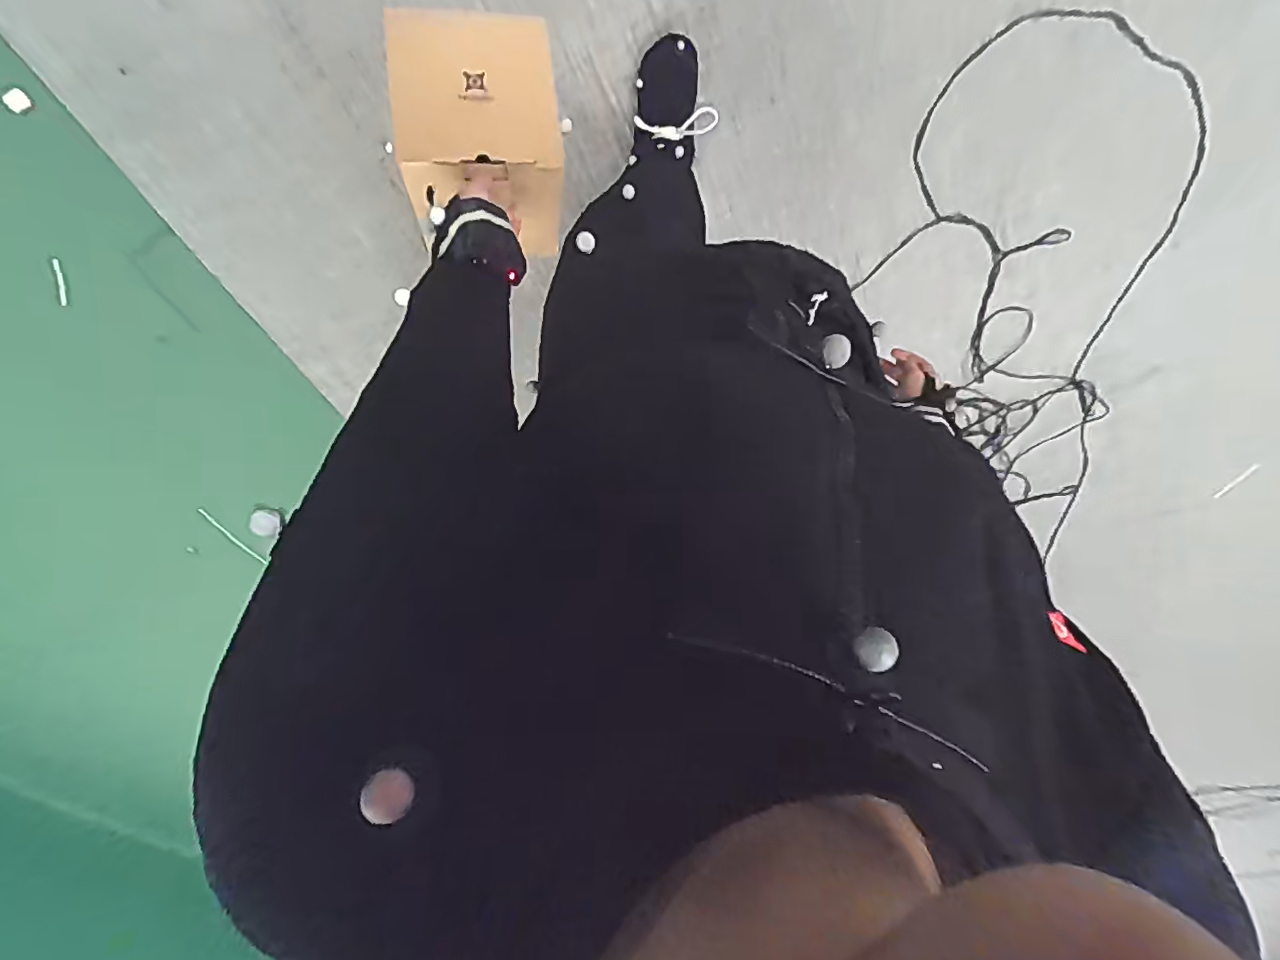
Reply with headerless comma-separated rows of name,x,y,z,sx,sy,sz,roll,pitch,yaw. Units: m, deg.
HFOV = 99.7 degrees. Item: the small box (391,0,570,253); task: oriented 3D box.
small box,-0.177,-0.389,0.622,0.168,0.179,0.176,-6,172,-13
